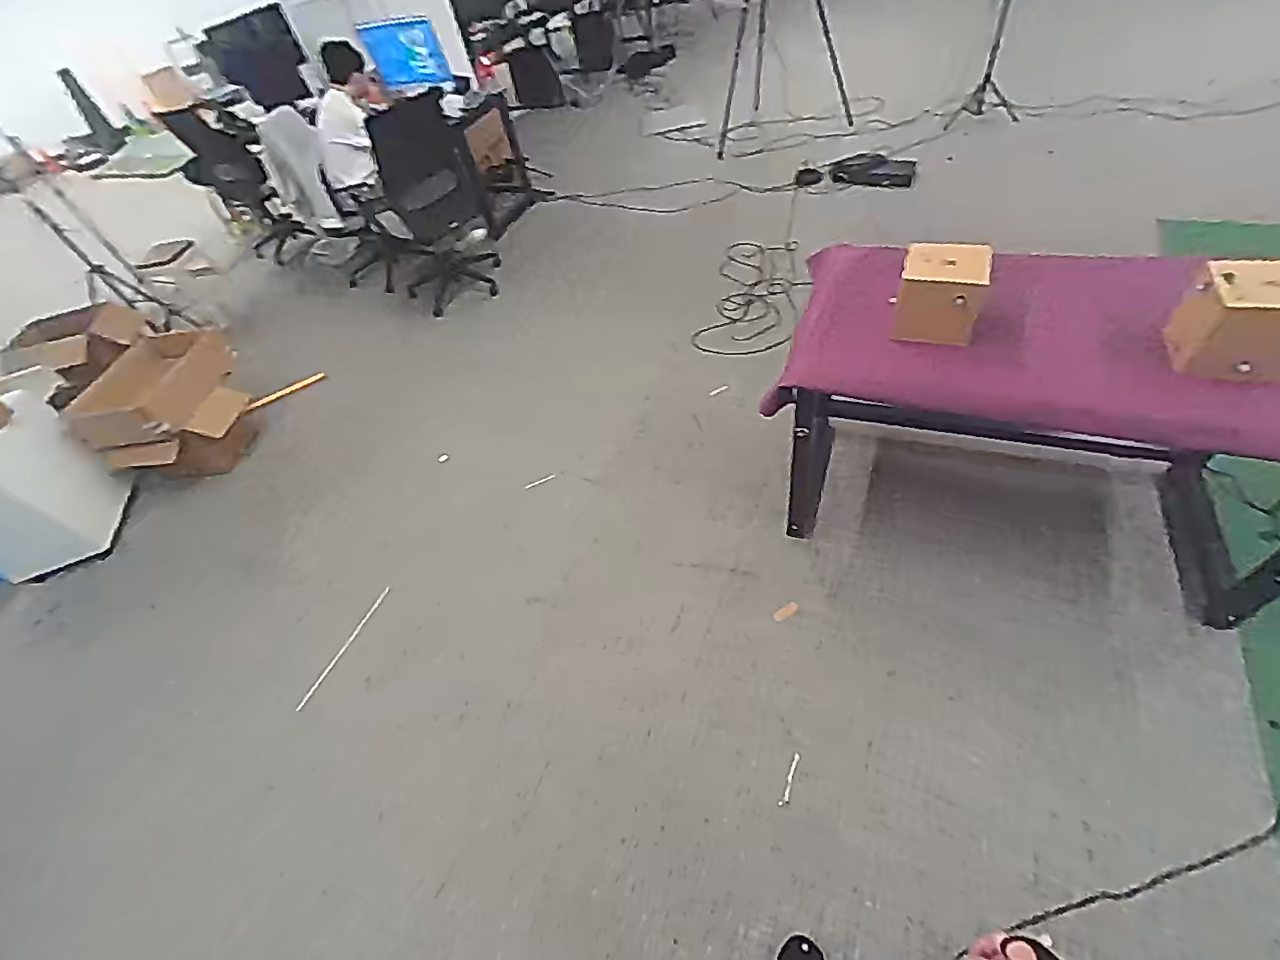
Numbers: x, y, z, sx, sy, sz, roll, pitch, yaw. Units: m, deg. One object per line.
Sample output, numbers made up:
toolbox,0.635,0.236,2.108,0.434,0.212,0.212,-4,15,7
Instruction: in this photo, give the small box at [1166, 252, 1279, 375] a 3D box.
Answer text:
small box,1.209,-0.328,1.073,0.179,0.176,0.168,11,54,22

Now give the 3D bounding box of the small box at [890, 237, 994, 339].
small box,0.720,-0.459,1.298,0.179,0.176,0.168,13,55,23
